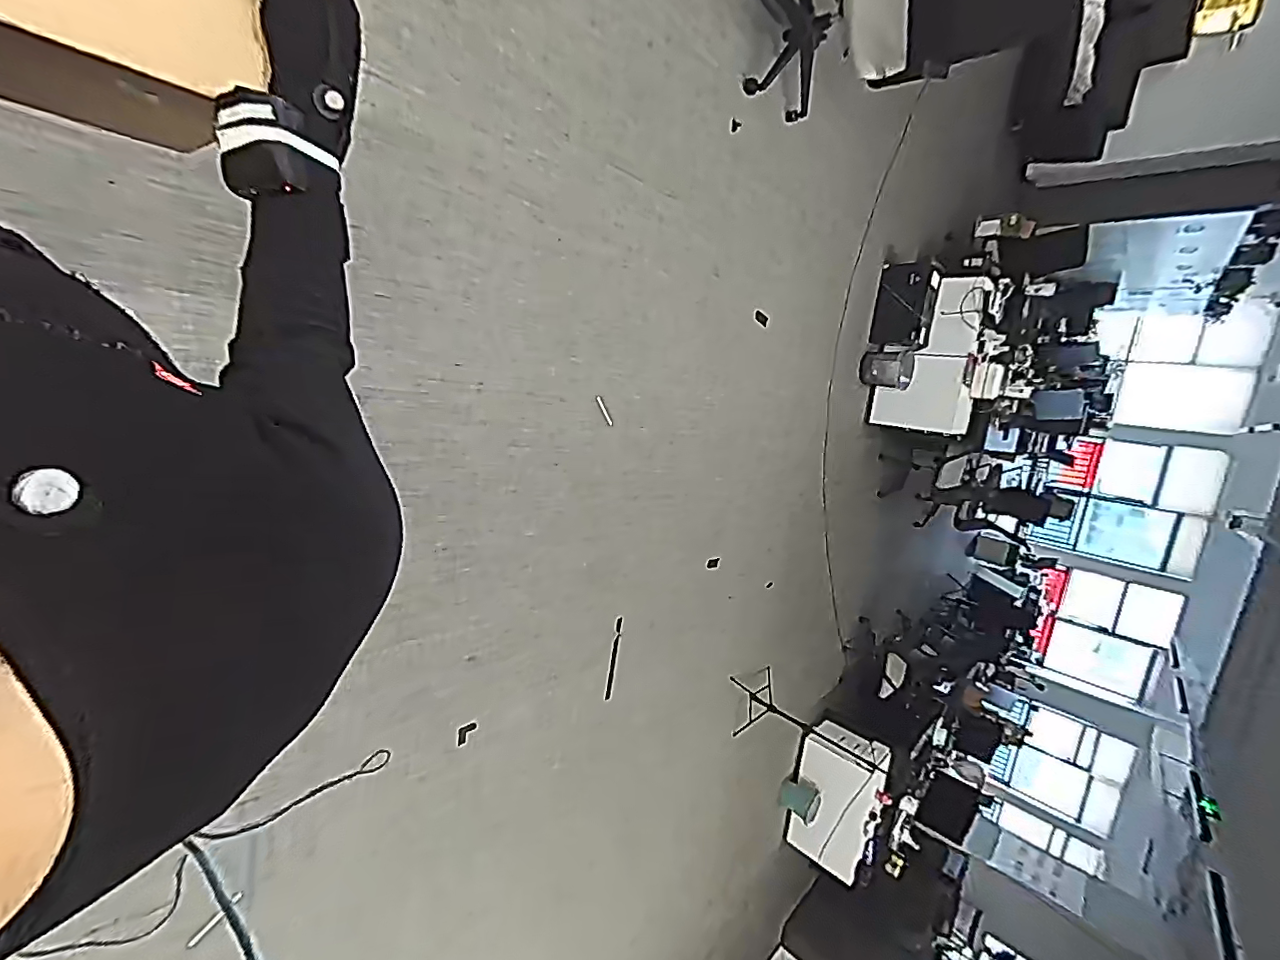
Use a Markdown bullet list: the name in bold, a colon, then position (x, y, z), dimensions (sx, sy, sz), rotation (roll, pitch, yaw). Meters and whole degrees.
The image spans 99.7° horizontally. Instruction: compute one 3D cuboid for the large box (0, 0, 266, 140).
- **large box**: position (-0.517, -0.467, 0.337), dimensions (0.408, 0.320, 0.320), rotation (-7, 113, -49)
